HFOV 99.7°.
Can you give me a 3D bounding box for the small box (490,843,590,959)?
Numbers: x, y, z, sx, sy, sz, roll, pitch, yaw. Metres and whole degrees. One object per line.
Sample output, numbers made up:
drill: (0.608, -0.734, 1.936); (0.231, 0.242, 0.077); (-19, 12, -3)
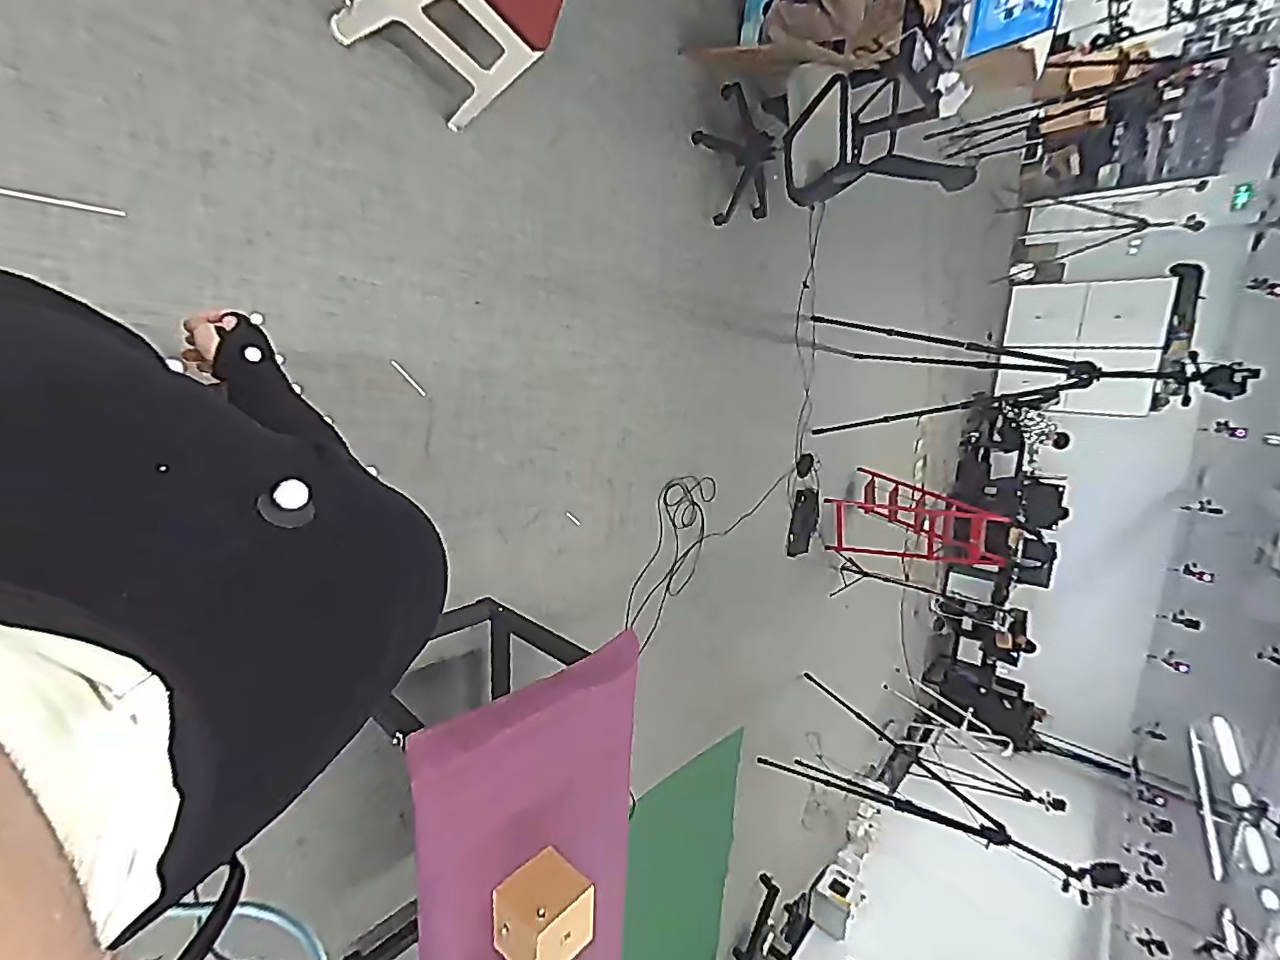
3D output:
small box: (-0.243, 1.042, 1.316); (0.179, 0.176, 0.168); (-11, 108, -47)
